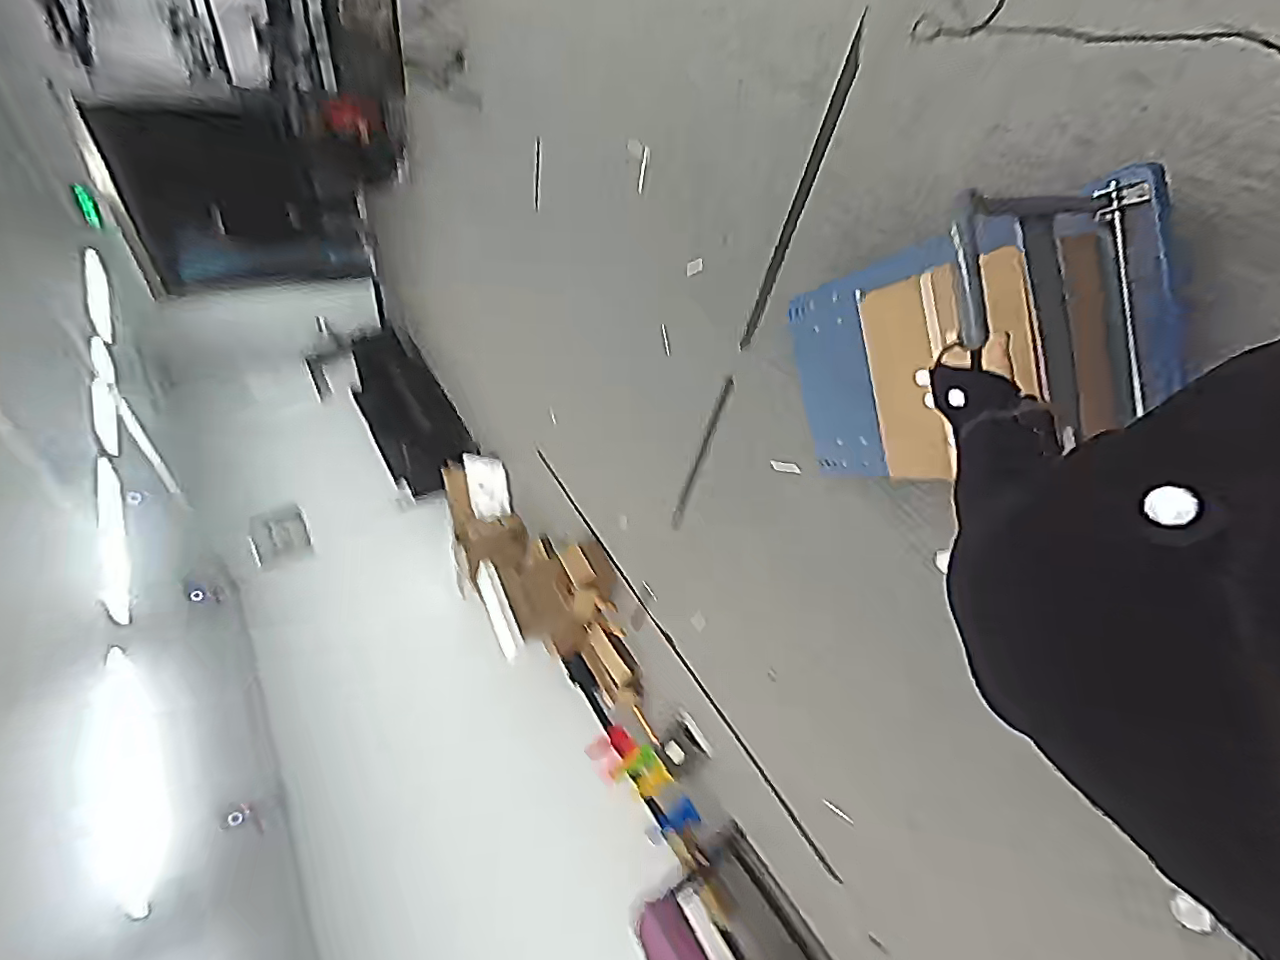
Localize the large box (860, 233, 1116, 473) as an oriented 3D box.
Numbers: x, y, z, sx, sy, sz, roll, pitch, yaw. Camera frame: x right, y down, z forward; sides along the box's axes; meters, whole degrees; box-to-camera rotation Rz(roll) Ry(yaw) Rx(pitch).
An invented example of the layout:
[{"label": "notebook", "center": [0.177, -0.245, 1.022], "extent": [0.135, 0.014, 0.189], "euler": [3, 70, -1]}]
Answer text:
[{"label": "large box", "center": [0.715, -0.246, 1.118], "extent": [0.320, 0.320, 0.408], "euler": [1, 107, 58]}]
